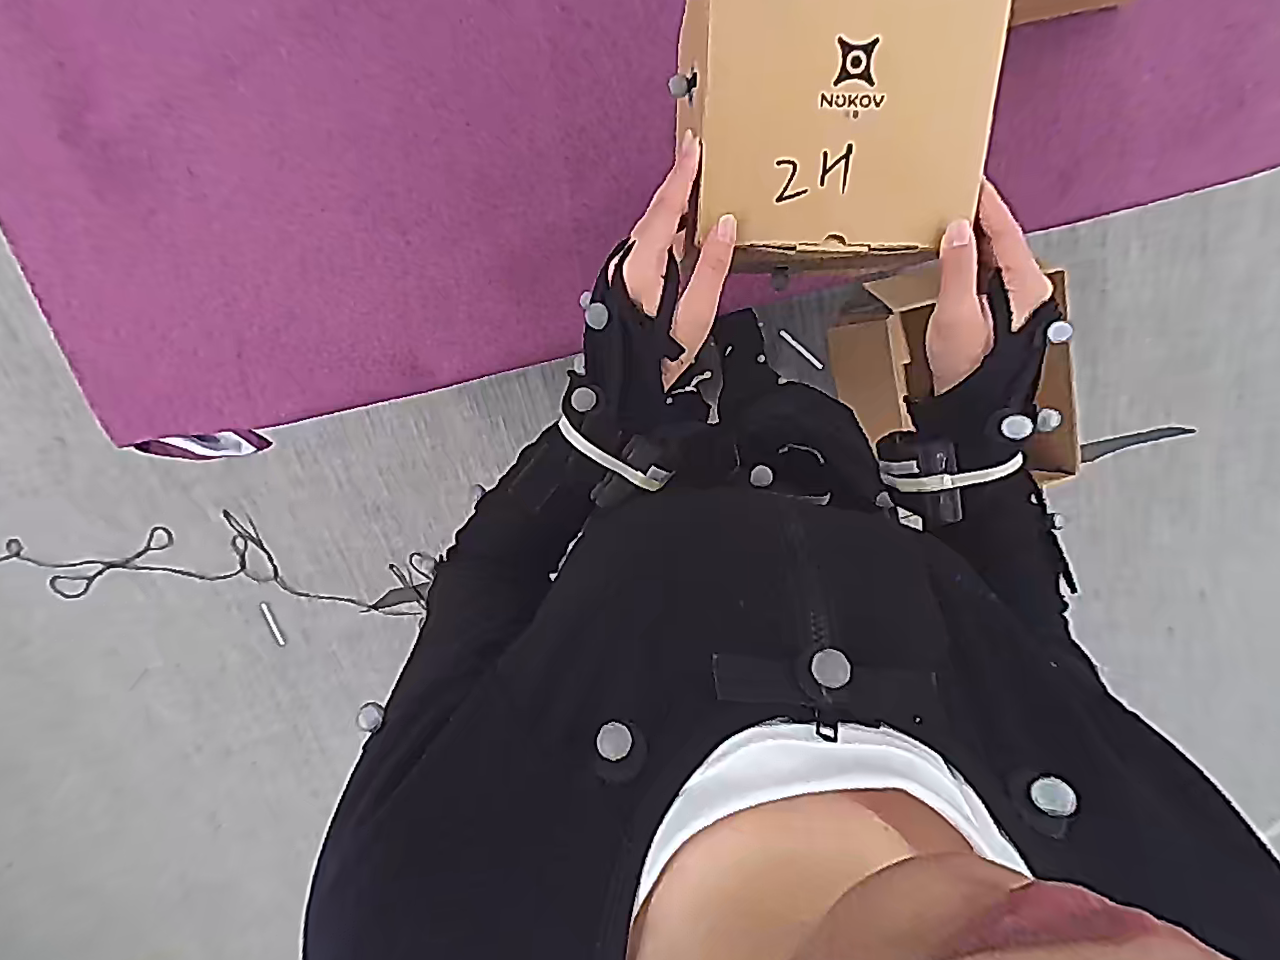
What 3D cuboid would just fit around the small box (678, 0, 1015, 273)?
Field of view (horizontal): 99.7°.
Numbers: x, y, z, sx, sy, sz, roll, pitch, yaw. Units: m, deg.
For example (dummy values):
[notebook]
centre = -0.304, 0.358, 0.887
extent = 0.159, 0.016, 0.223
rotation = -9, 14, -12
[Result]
[small box]
centre = 0.117, -0.247, 0.375
extent = 0.168, 0.176, 0.179
rotation = 0, 107, -1
